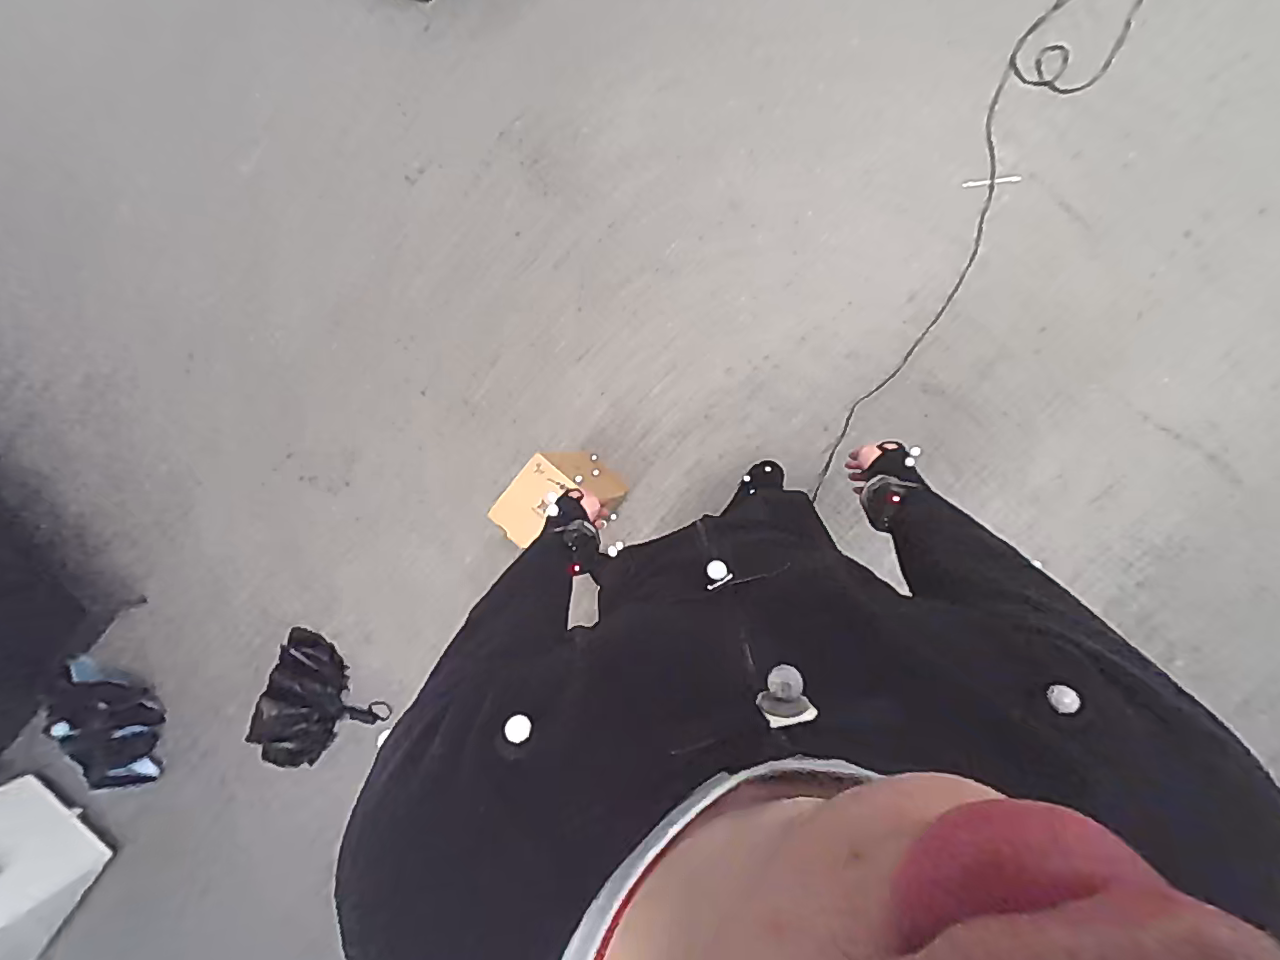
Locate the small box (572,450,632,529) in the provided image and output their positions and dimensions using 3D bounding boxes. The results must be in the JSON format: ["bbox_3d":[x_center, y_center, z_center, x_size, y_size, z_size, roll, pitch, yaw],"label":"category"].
[{"bbox_3d":[-0.144,0.033,1.516,0.179,0.176,0.168,39,98,4],"label":"small box"}]

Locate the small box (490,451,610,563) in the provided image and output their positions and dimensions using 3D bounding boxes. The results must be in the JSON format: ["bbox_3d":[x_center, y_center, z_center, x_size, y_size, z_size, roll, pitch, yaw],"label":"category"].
[{"bbox_3d":[-0.188,0.053,1.192,0.168,0.176,0.179,40,98,5],"label":"small box"}]

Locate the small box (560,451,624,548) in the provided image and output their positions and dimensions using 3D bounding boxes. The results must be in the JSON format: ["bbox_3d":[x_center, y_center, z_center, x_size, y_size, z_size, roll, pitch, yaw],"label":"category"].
[{"bbox_3d":[-0.164,0.046,1.353,0.179,0.176,0.168,39,97,5],"label":"small box"}]
